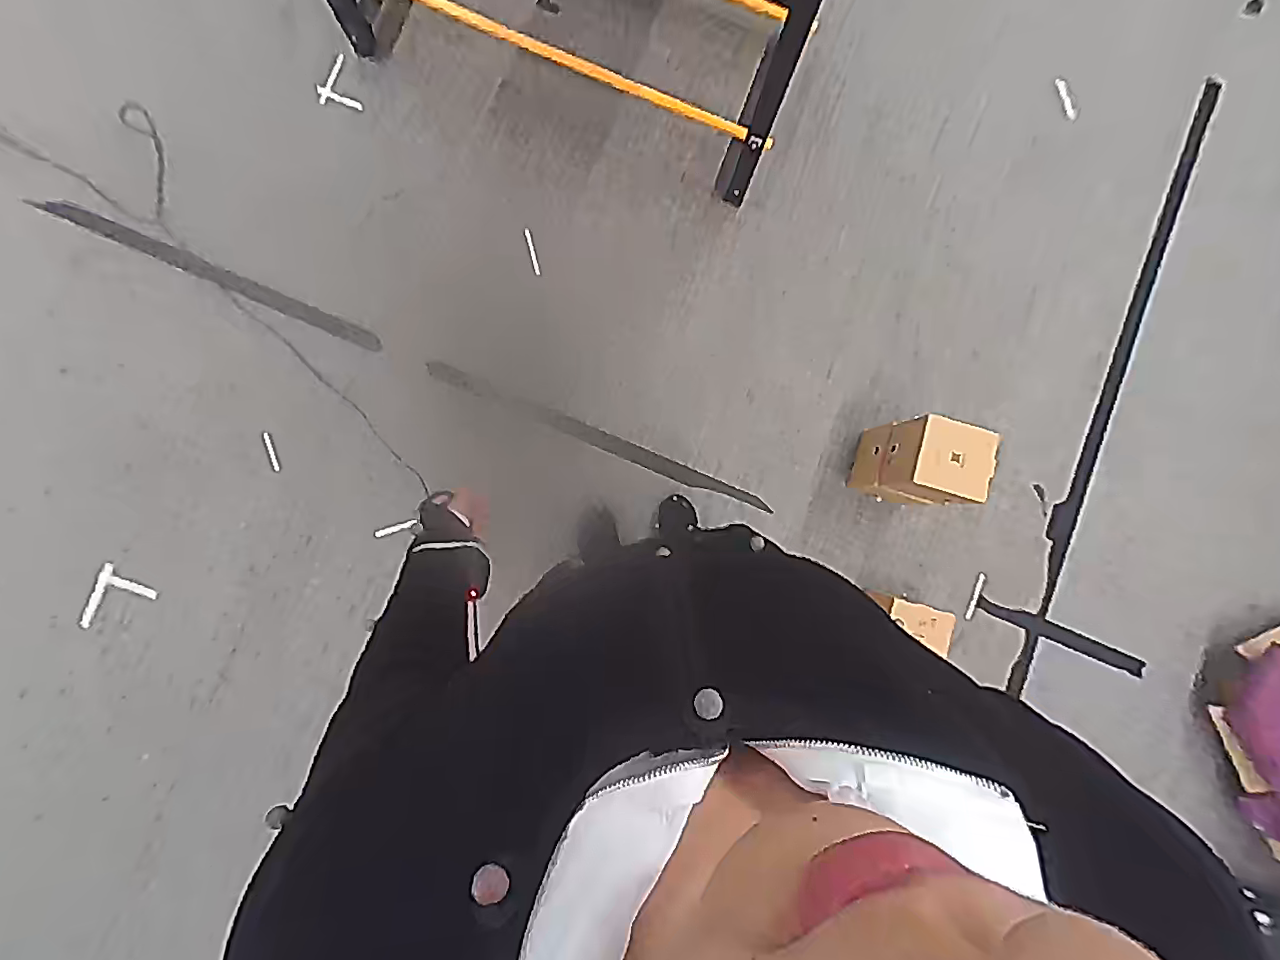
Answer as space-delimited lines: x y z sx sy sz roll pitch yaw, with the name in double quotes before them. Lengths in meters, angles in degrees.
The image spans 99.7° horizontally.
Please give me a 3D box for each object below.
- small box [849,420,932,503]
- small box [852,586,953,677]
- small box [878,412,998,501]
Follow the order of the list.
"small box" 0.692 -0.046 1.463 0.168 0.176 0.179 19 87 -1
"small box" 0.690 0.396 1.443 0.168 0.176 0.179 16 87 -2
"small box" 0.709 -0.050 1.301 0.179 0.176 0.168 15 85 0
